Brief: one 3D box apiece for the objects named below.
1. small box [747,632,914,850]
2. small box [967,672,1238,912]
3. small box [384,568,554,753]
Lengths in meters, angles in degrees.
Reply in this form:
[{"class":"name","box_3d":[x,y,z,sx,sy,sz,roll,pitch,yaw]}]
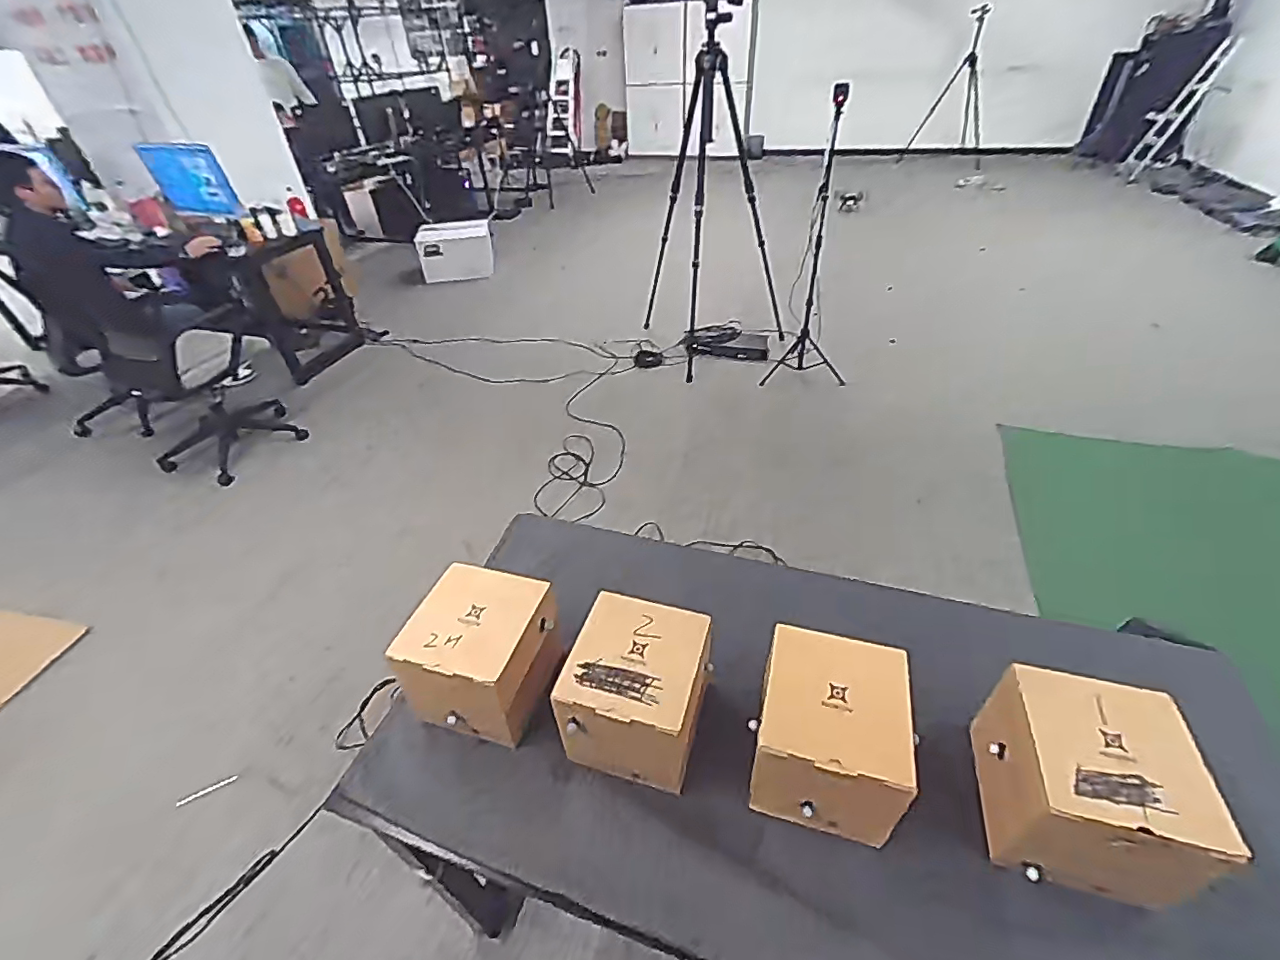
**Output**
[{"class":"small box","box_3d":[0.236,0.332,0.696,0.168,0.176,0.179,9,41,14]},{"class":"small box","box_3d":[0.510,0.363,0.635,0.168,0.176,0.179,9,39,14]},{"class":"small box","box_3d":[-0.236,0.263,0.799,0.168,0.176,0.179,10,39,13]}]
